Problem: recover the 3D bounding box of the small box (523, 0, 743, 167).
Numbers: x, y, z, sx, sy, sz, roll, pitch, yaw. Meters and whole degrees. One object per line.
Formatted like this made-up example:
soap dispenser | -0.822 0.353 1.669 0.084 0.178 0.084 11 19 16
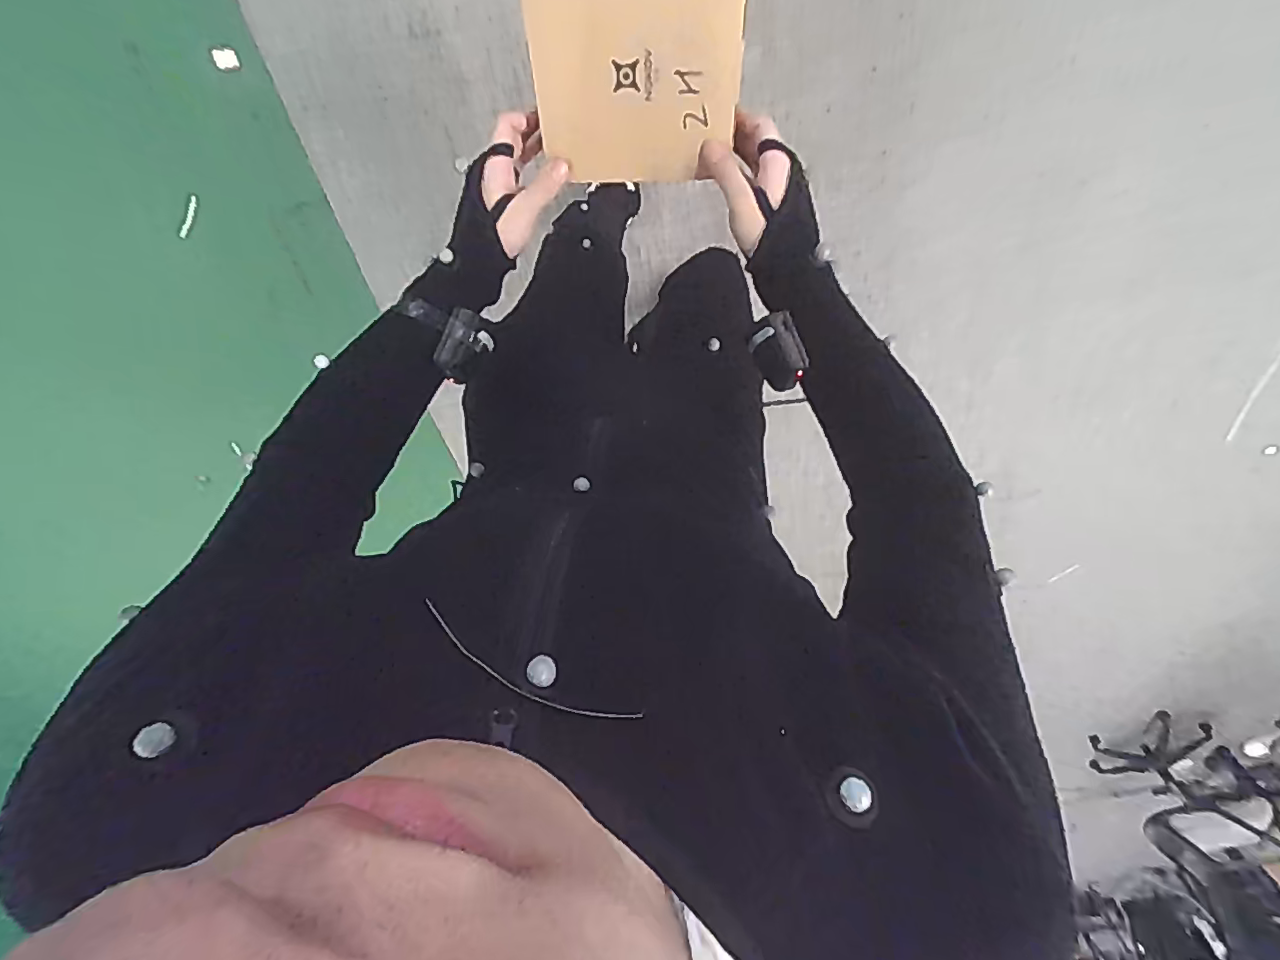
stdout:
small box | -0.004 -0.413 0.504 0.179 0.176 0.168 -1 141 1
